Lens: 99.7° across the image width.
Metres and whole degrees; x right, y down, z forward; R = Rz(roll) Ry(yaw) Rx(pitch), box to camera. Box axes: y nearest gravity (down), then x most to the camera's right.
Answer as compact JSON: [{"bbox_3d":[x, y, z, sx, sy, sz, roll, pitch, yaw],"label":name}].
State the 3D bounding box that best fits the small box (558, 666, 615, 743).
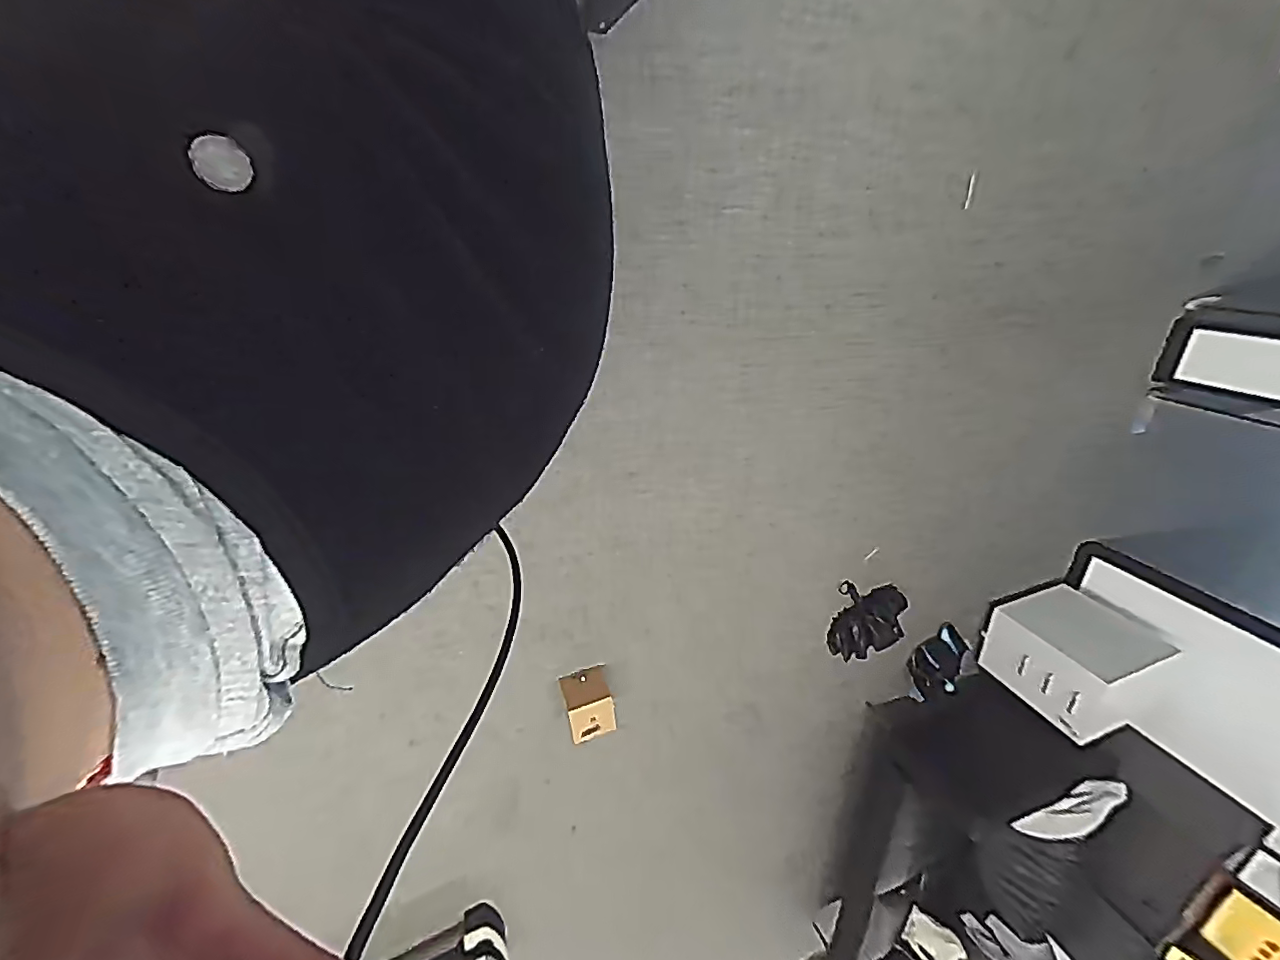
[{"bbox_3d":[-0.203,0.836,2.027,0.168,0.176,0.179,-14,118,-17],"label":"small box"}]
